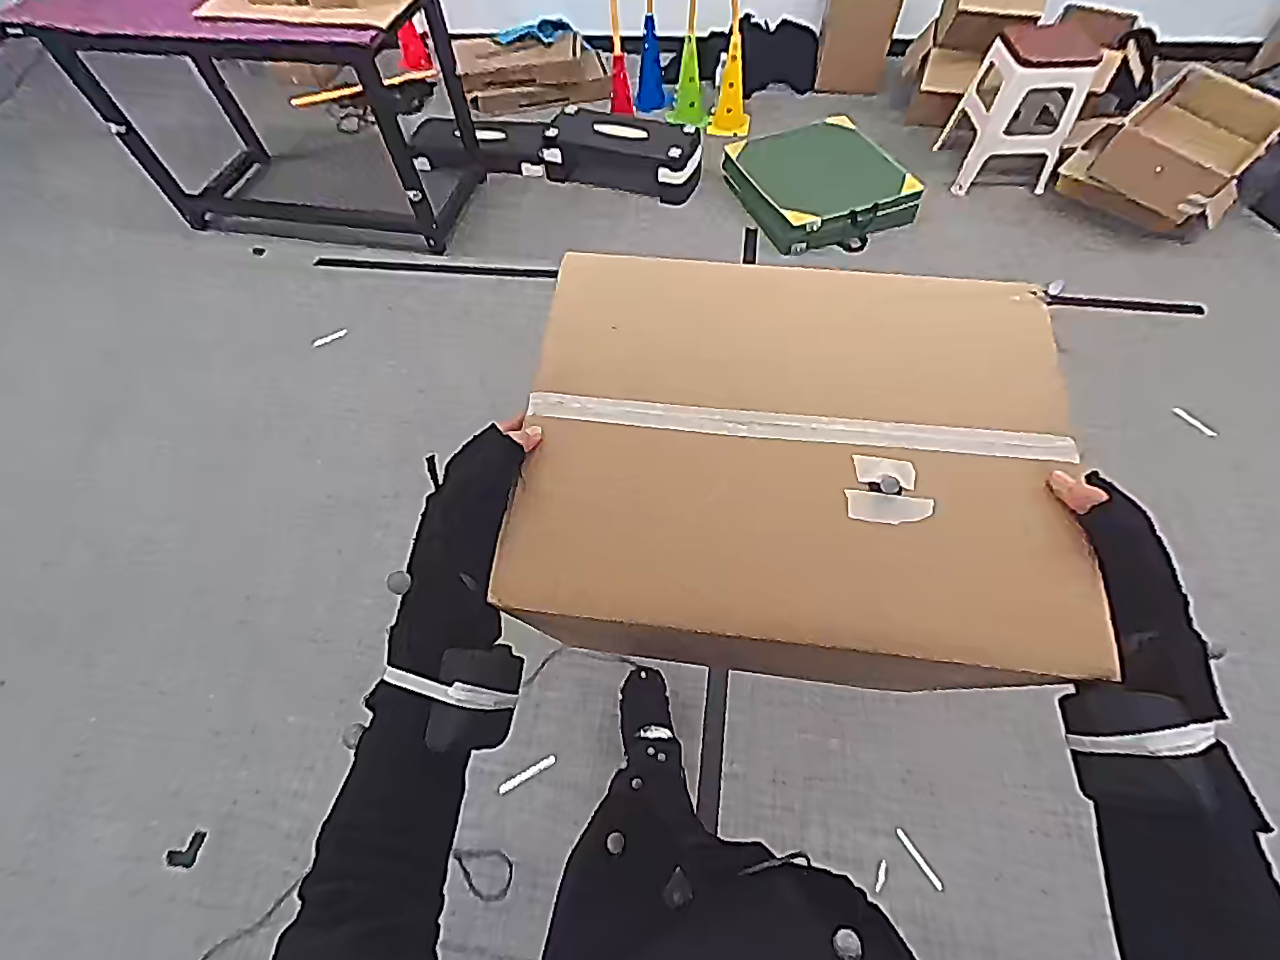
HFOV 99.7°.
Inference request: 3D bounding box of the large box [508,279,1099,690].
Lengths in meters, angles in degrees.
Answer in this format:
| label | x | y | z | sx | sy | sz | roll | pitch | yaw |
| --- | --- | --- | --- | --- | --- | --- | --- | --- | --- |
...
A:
| label | x | y | z | sx | sy | sz | roll | pitch | yaw |
| --- | --- | --- | --- | --- | --- | --- | --- | --- | --- |
| large box | 0.122 | 0.029 | 0.557 | 0.408 | 0.320 | 0.320 | 5 | 69 | 5 |
